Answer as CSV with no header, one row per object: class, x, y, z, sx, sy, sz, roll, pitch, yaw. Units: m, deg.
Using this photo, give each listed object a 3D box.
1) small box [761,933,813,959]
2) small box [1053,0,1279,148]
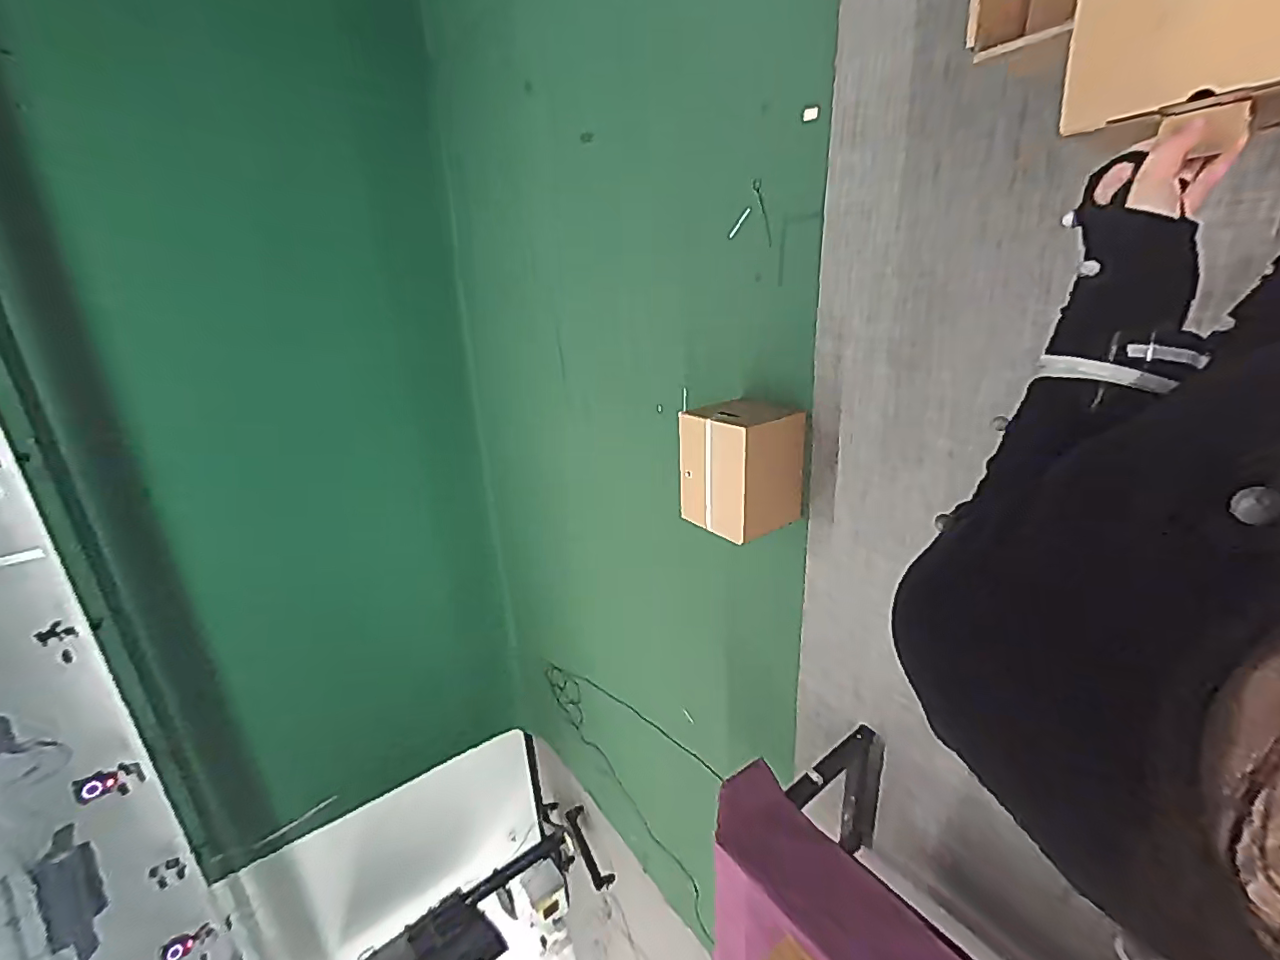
small box,0.359,1.266,1.302,0.168,0.176,0.179,28,125,47
small box,0.446,-0.364,0.400,0.168,0.176,0.179,19,119,50
